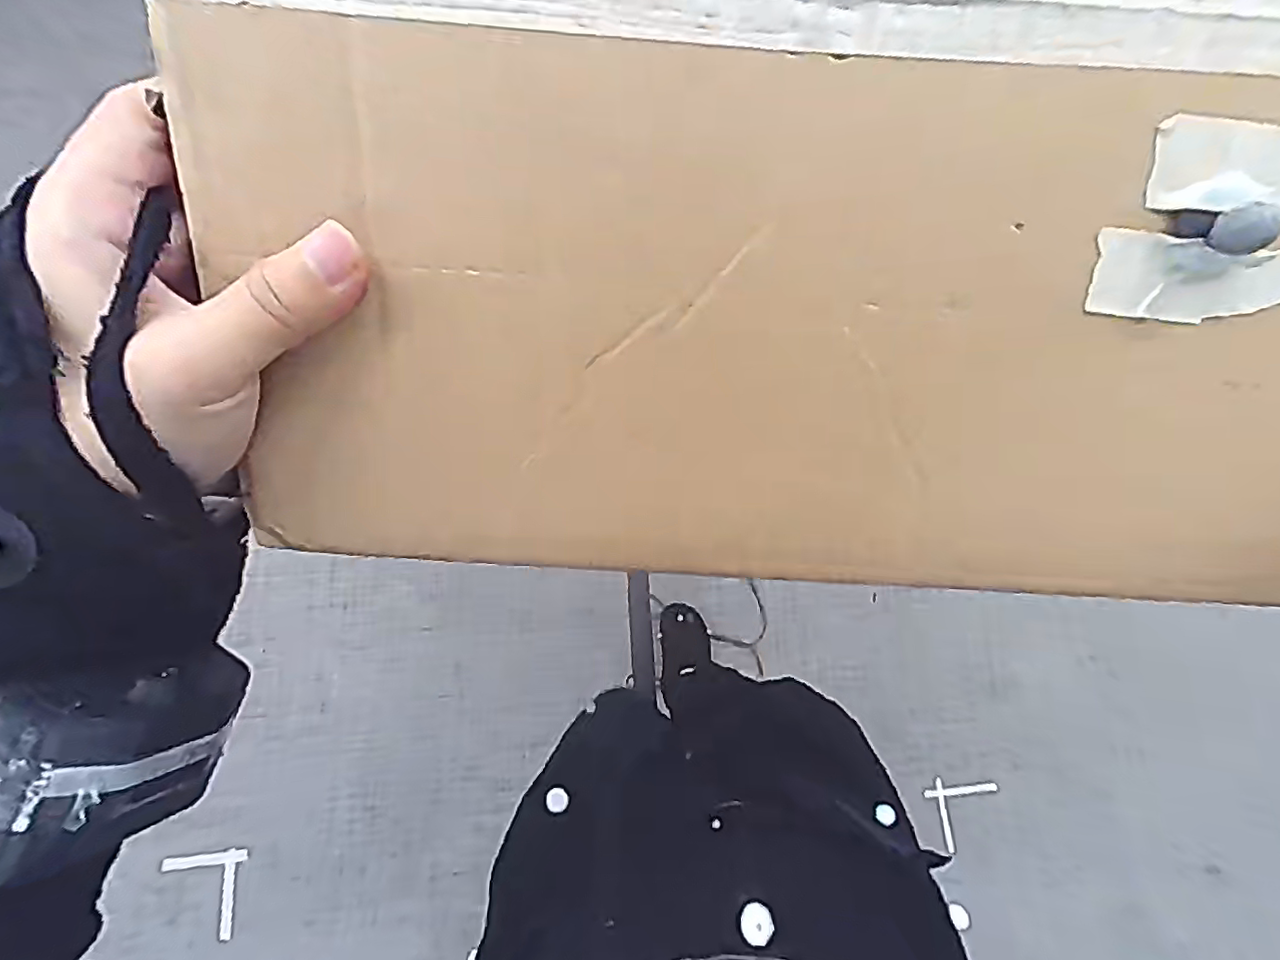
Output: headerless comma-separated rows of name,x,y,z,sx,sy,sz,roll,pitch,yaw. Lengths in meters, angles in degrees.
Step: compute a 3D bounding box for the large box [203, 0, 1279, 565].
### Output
large box,0.082,-0.164,0.284,0.408,0.320,0.320,2,110,-2
